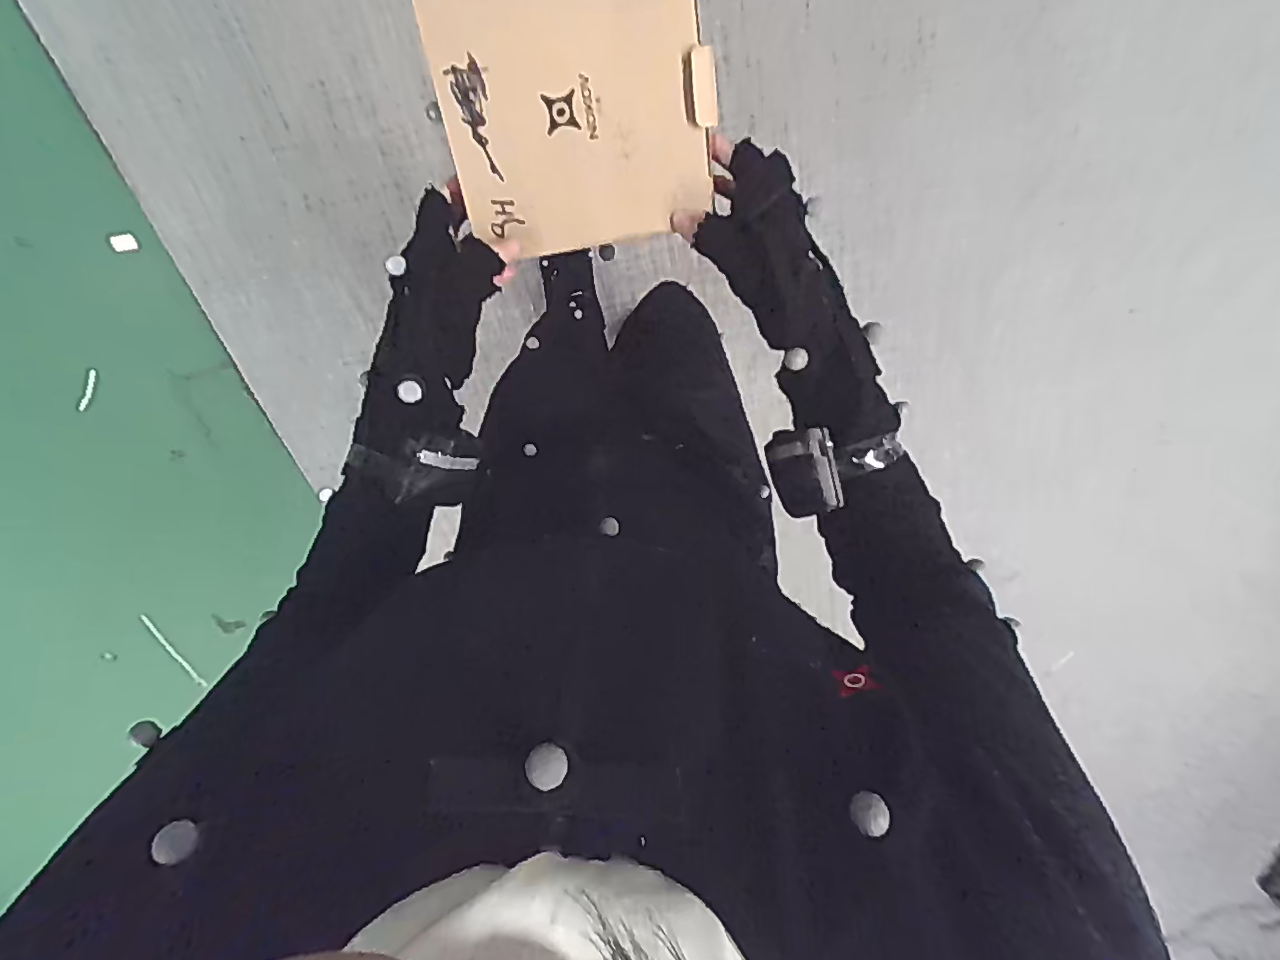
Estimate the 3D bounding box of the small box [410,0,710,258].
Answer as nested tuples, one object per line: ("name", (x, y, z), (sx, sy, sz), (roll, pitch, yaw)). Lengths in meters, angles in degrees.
("small box", (-0.048, -0.280, 0.428), (0.179, 0.176, 0.168), (-7, 115, 3))
